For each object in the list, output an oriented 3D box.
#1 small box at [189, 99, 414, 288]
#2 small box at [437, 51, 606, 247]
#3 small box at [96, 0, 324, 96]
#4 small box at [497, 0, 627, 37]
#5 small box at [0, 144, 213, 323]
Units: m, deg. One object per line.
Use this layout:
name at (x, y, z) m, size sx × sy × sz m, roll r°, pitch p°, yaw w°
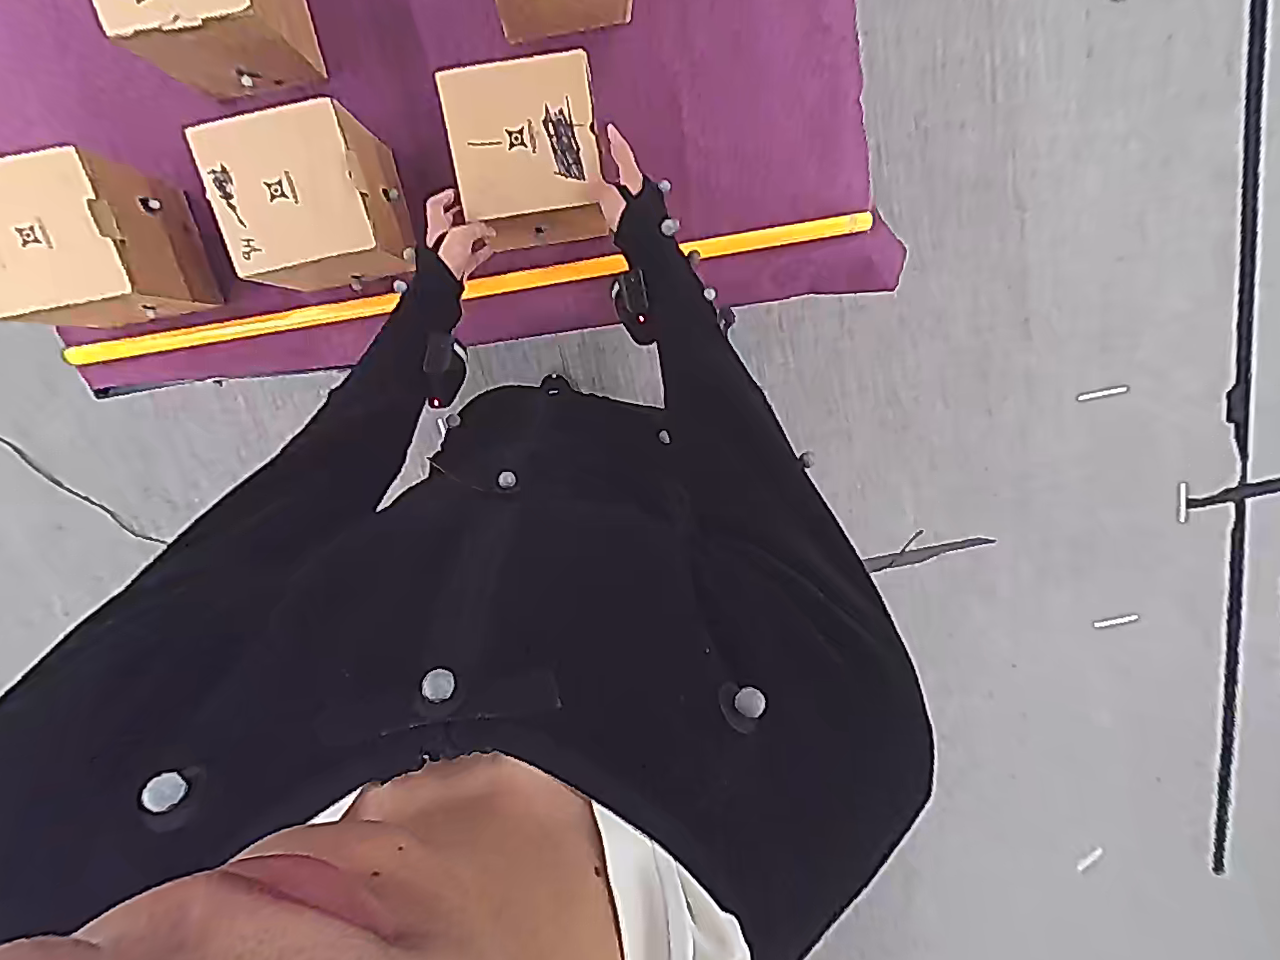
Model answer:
small box at (-0.420, -0.361, 0.712) m, size 0.179 × 0.176 × 0.168 m, roll -12°, pitch 103°, yaw -1°
small box at (-0.141, -0.419, 0.713) m, size 0.179 × 0.176 × 0.168 m, roll -8°, pitch 102°, yaw 0°
small box at (-0.522, -0.605, 0.649) m, size 0.168 × 0.176 × 0.179 m, roll -10°, pitch 105°, yaw 0°
small box at (-0.106, -0.684, 0.654) m, size 0.179 × 0.176 × 0.168 m, roll -10°, pitch 105°, yaw 0°
small box at (-0.710, -0.307, 0.707) m, size 0.179 × 0.176 × 0.168 m, roll -12°, pitch 103°, yaw -2°
